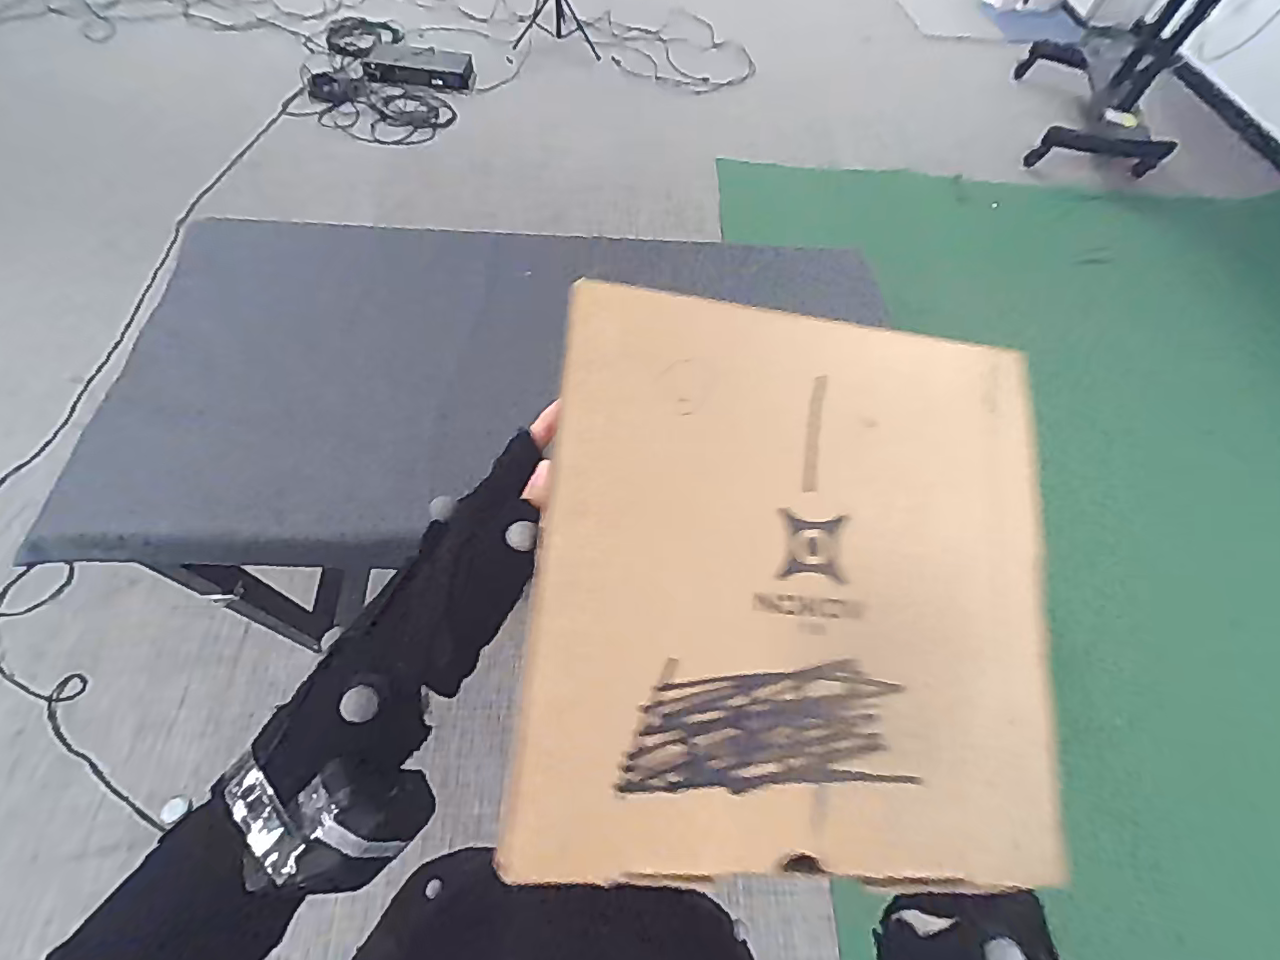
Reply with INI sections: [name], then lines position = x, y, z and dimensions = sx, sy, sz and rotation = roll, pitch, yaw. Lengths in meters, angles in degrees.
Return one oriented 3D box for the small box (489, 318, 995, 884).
[small box]
position = 0.032, 0.053, 0.262
dimensions = 0.168, 0.176, 0.179
rotation = 8, 77, -8
